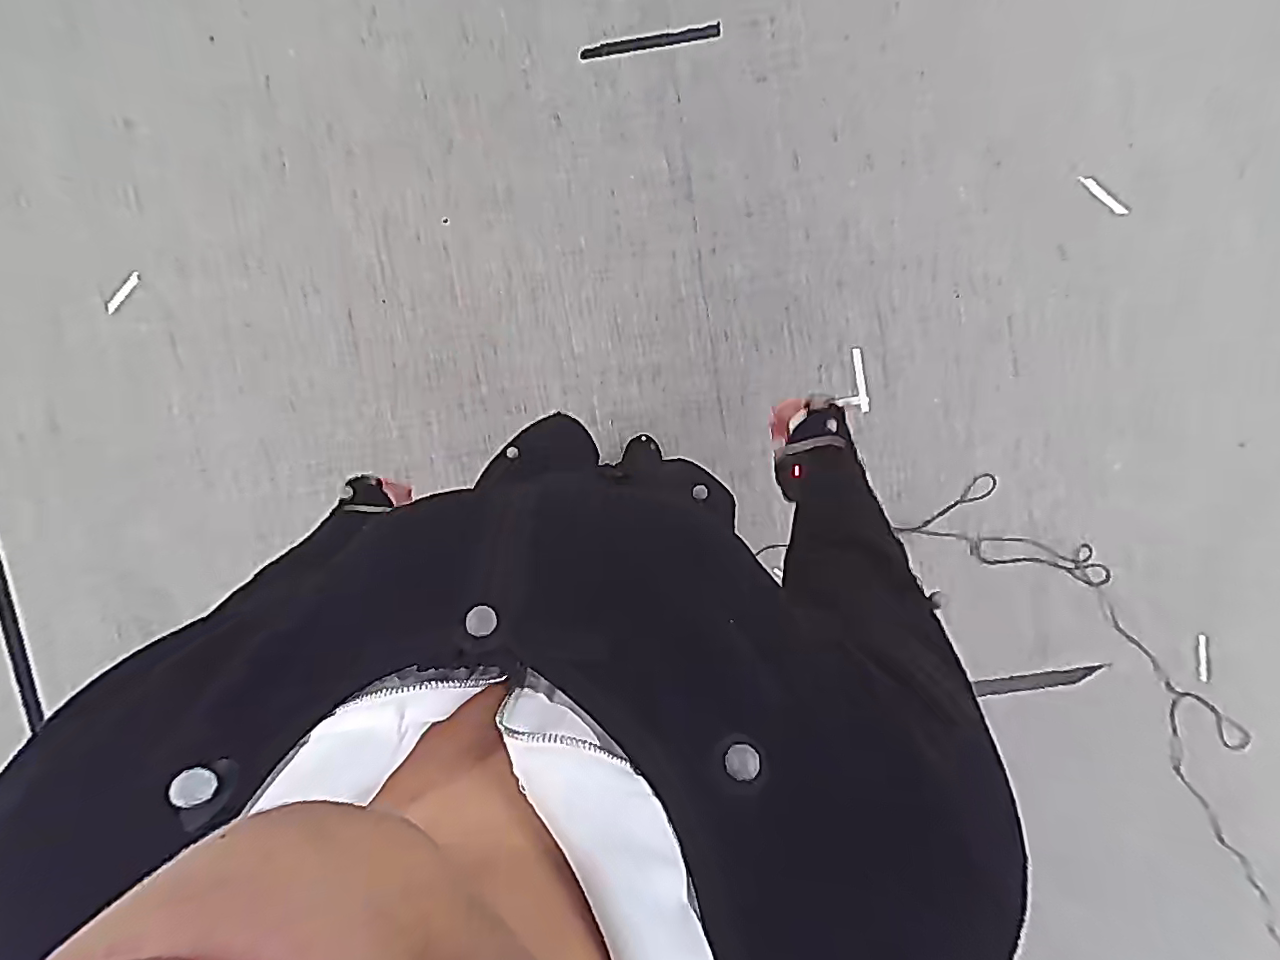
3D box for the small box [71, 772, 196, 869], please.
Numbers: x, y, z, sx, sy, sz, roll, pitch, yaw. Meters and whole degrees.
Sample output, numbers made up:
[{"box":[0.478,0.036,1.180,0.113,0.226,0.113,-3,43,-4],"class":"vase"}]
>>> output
[{"box":[-1.373,0.928,1.477,0.168,0.176,0.179,-9,95,1],"class":"small box"}]
